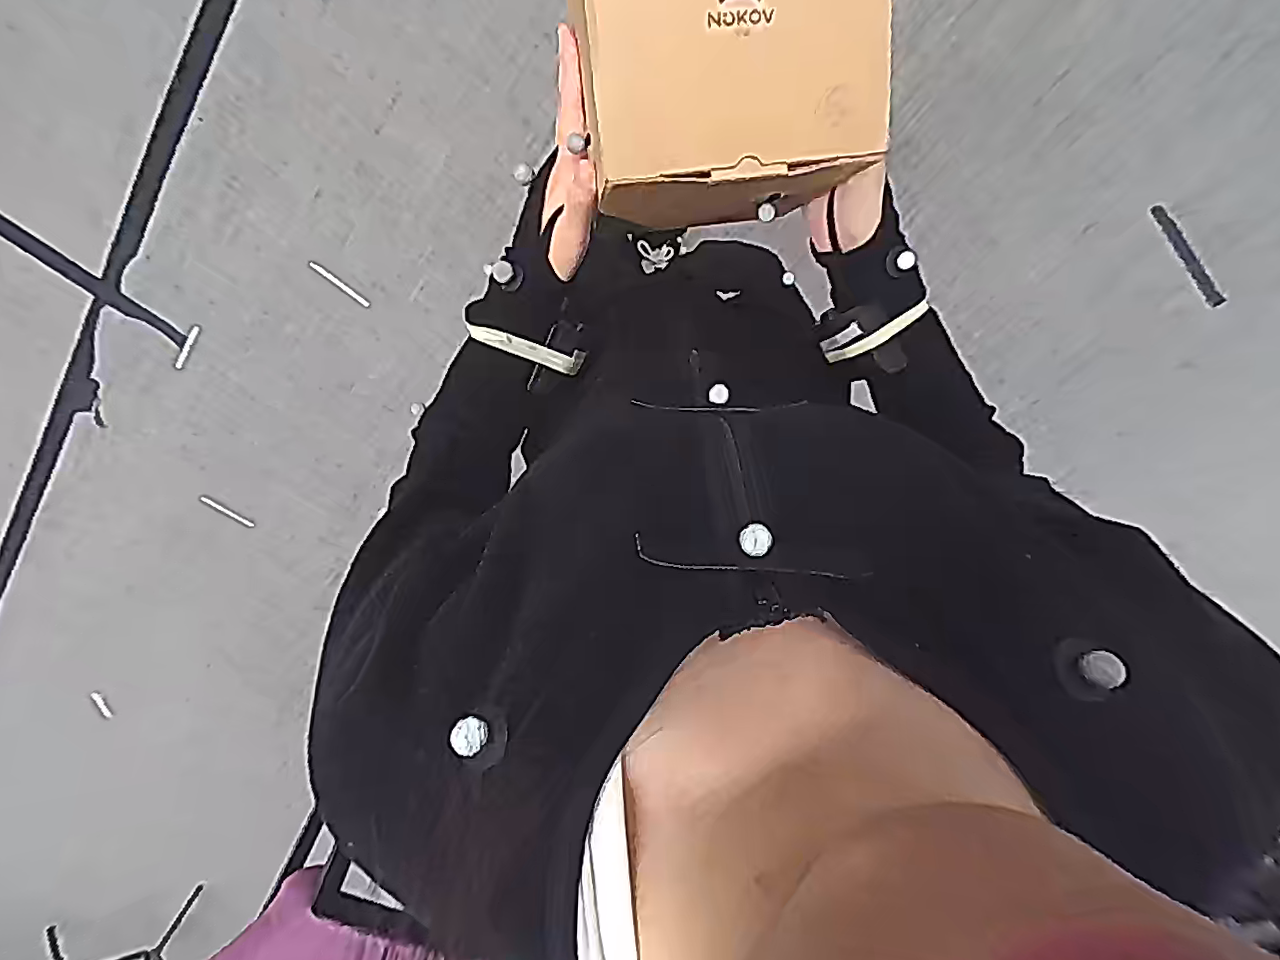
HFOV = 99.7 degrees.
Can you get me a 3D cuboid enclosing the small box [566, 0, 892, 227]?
[{"bbox_3d":[0.042,-0.276,0.354,0.168,0.176,0.179,-9,105,-5],"label":"small box"}]
